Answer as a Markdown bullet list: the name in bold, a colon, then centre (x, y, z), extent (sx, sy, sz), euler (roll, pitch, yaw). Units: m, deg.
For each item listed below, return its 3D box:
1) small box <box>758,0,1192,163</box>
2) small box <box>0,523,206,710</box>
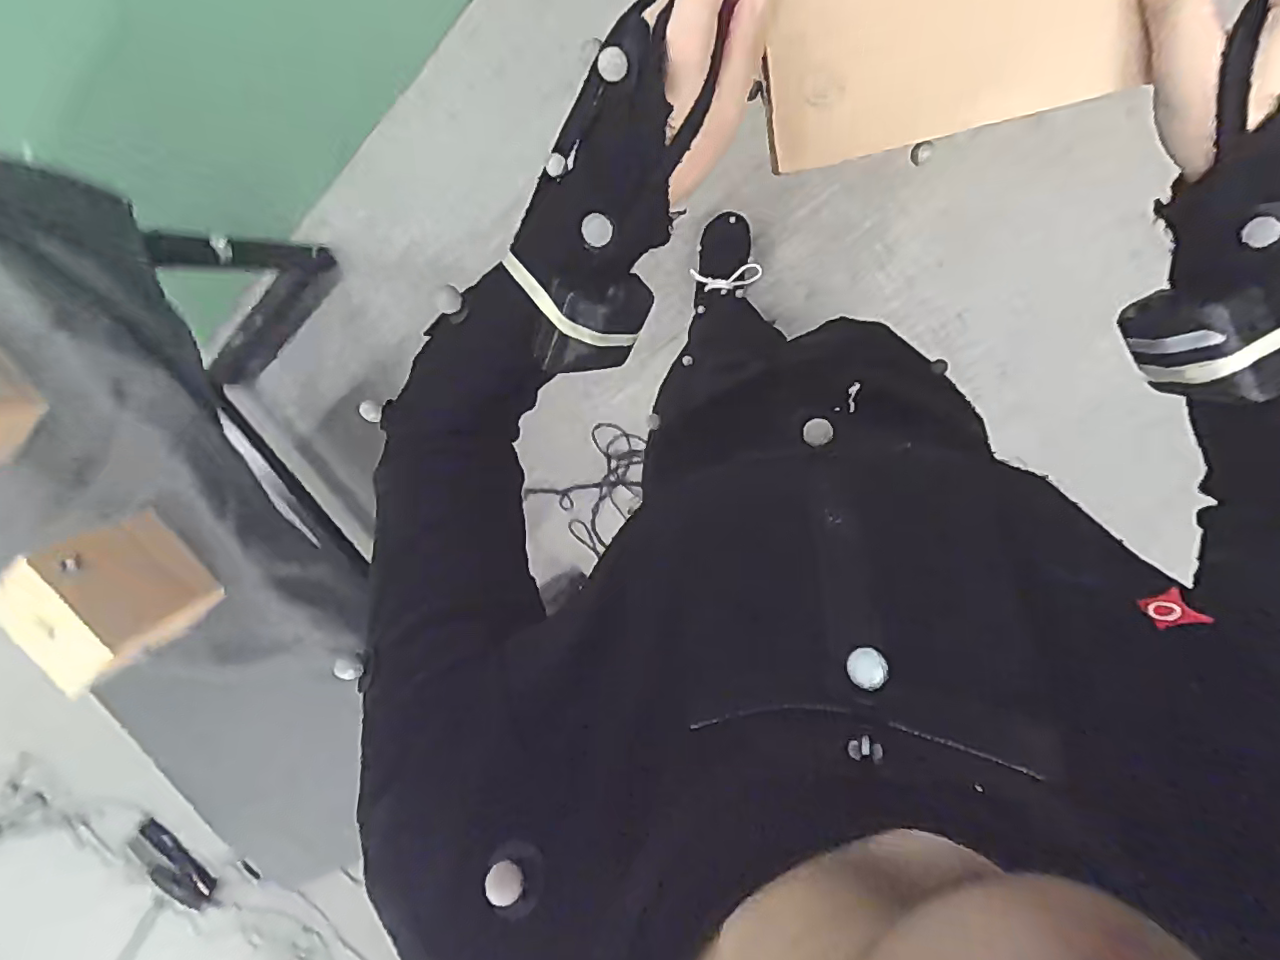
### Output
- **small box**: centre (0.152, -0.284, 0.289), extent (0.179, 0.176, 0.168), euler (-6, 122, 16)
- **small box**: centre (-0.806, 0.193, 0.800), extent (0.168, 0.176, 0.179), euler (-34, 97, 22)
